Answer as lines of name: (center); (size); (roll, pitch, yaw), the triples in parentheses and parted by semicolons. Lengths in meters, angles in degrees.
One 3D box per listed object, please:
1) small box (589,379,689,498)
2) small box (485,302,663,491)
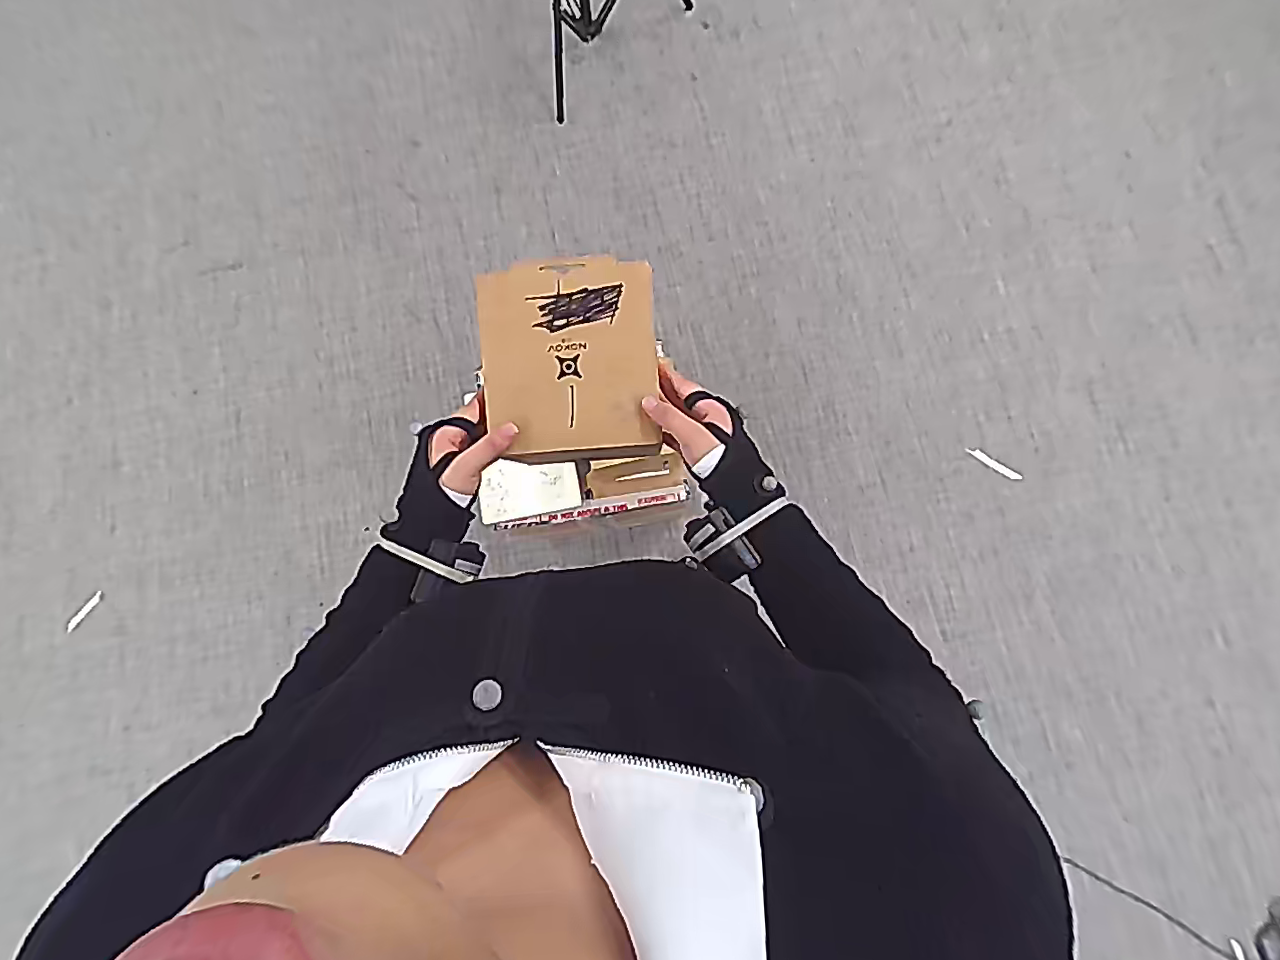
small box: (-0.019, -0.068, 0.996); (0.179, 0.176, 0.168); (-13, 82, -2)
small box: (-0.064, -0.079, 0.598); (0.168, 0.176, 0.179); (-4, 89, 0)
